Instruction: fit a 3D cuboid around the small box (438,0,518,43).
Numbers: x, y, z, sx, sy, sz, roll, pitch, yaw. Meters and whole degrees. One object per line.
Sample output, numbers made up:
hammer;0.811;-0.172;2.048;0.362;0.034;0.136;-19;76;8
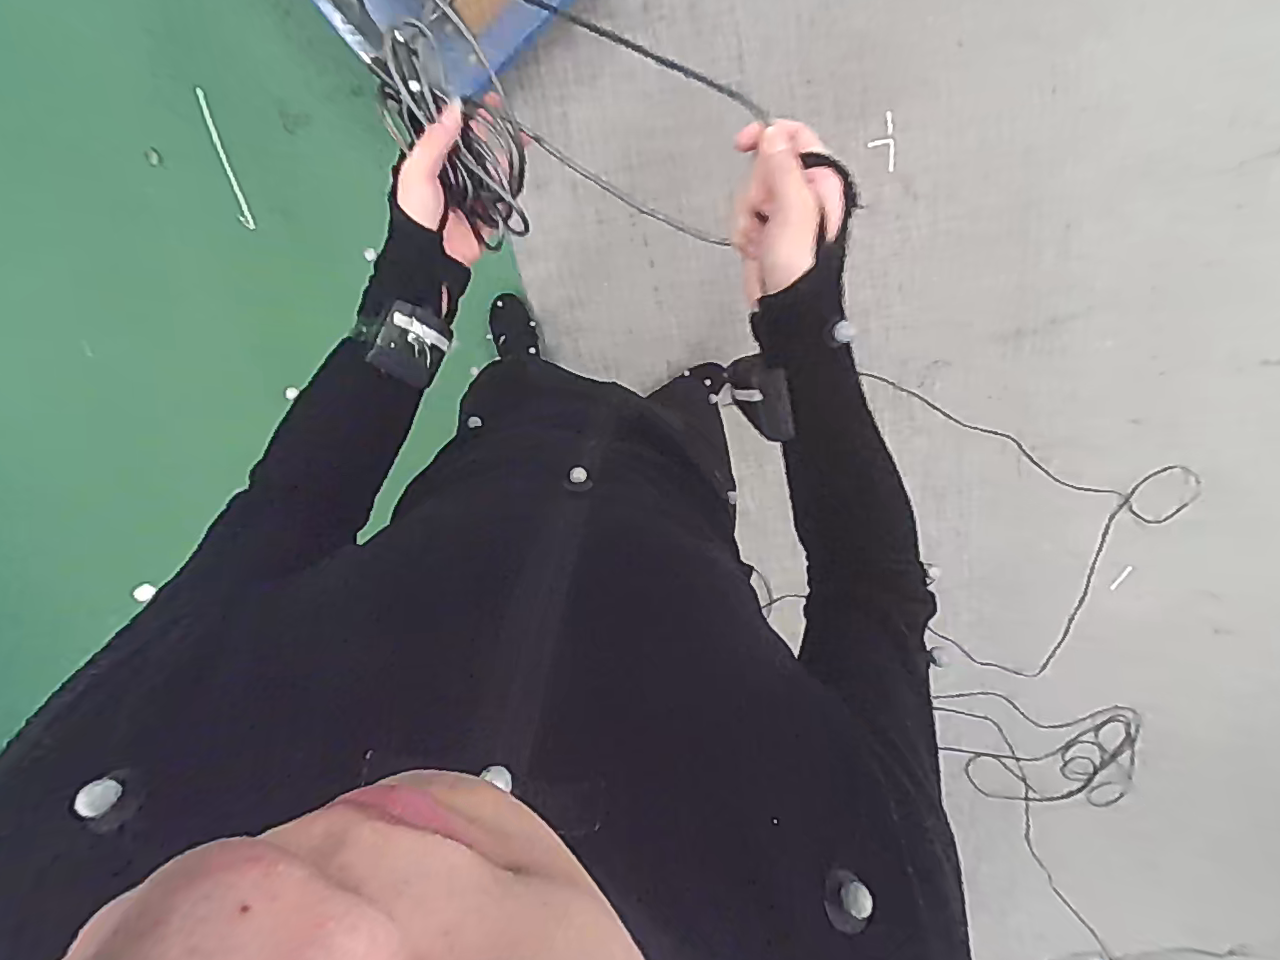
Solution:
small box;-0.333;-0.993;1.021;0.179;0.176;0.168;-36;105;12
